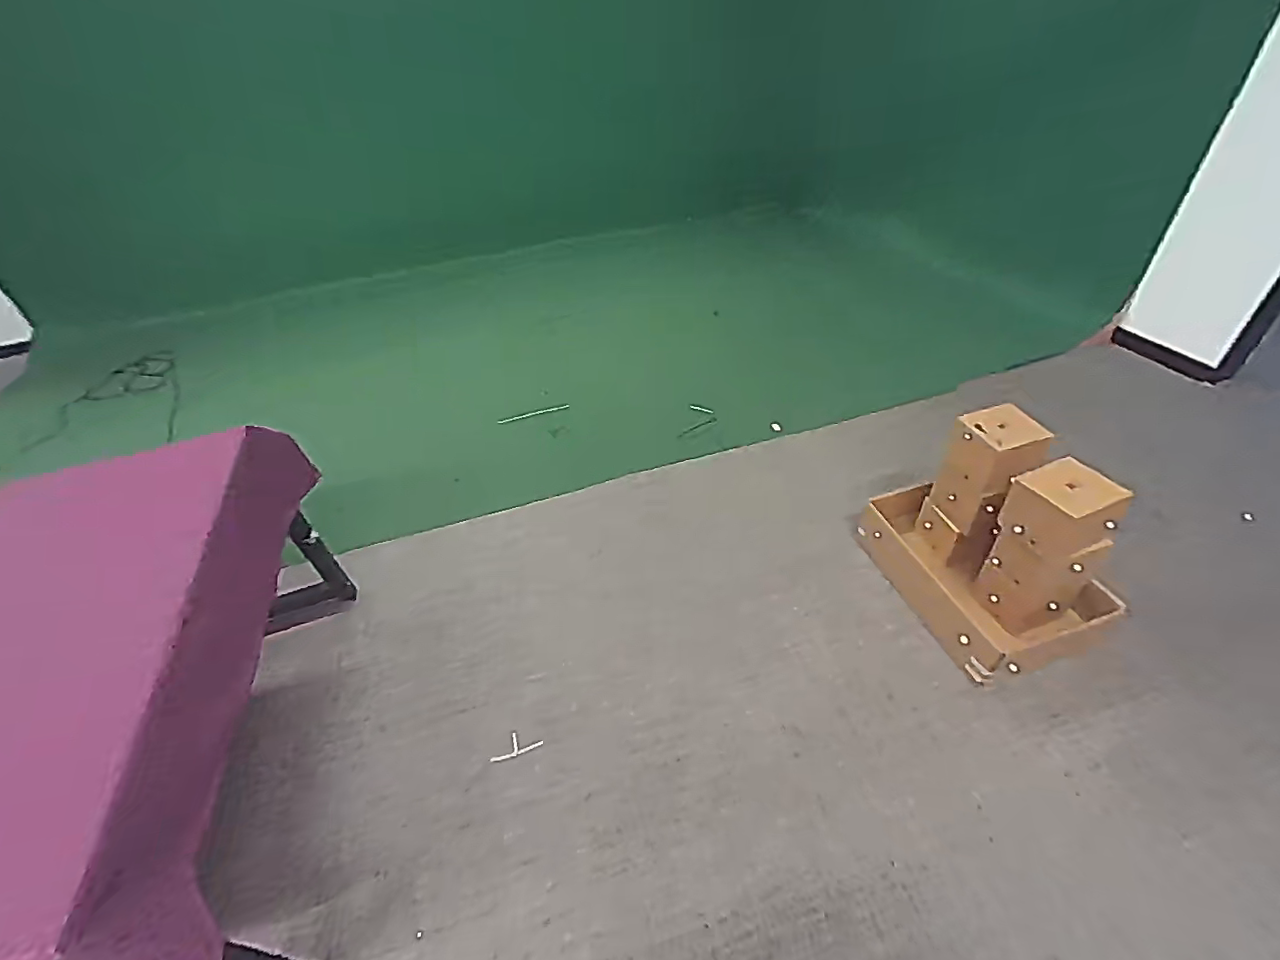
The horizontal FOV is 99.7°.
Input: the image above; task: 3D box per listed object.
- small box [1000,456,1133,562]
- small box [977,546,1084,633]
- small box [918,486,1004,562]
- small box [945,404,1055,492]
[{"bbox_3d":[1.053,0.074,1.354,0.179,0.176,0.168,-19,42,-10],"label":"small box"},{"bbox_3d":[1.115,0.315,1.567,0.179,0.176,0.168,-16,42,-8],"label":"small box"},{"bbox_3d":[1.041,0.146,1.769,0.179,0.176,0.168,-13,43,-5],"label":"small box"},{"bbox_3d":[1.012,-0.089,1.539,0.179,0.176,0.168,-13,41,-7],"label":"small box"}]
